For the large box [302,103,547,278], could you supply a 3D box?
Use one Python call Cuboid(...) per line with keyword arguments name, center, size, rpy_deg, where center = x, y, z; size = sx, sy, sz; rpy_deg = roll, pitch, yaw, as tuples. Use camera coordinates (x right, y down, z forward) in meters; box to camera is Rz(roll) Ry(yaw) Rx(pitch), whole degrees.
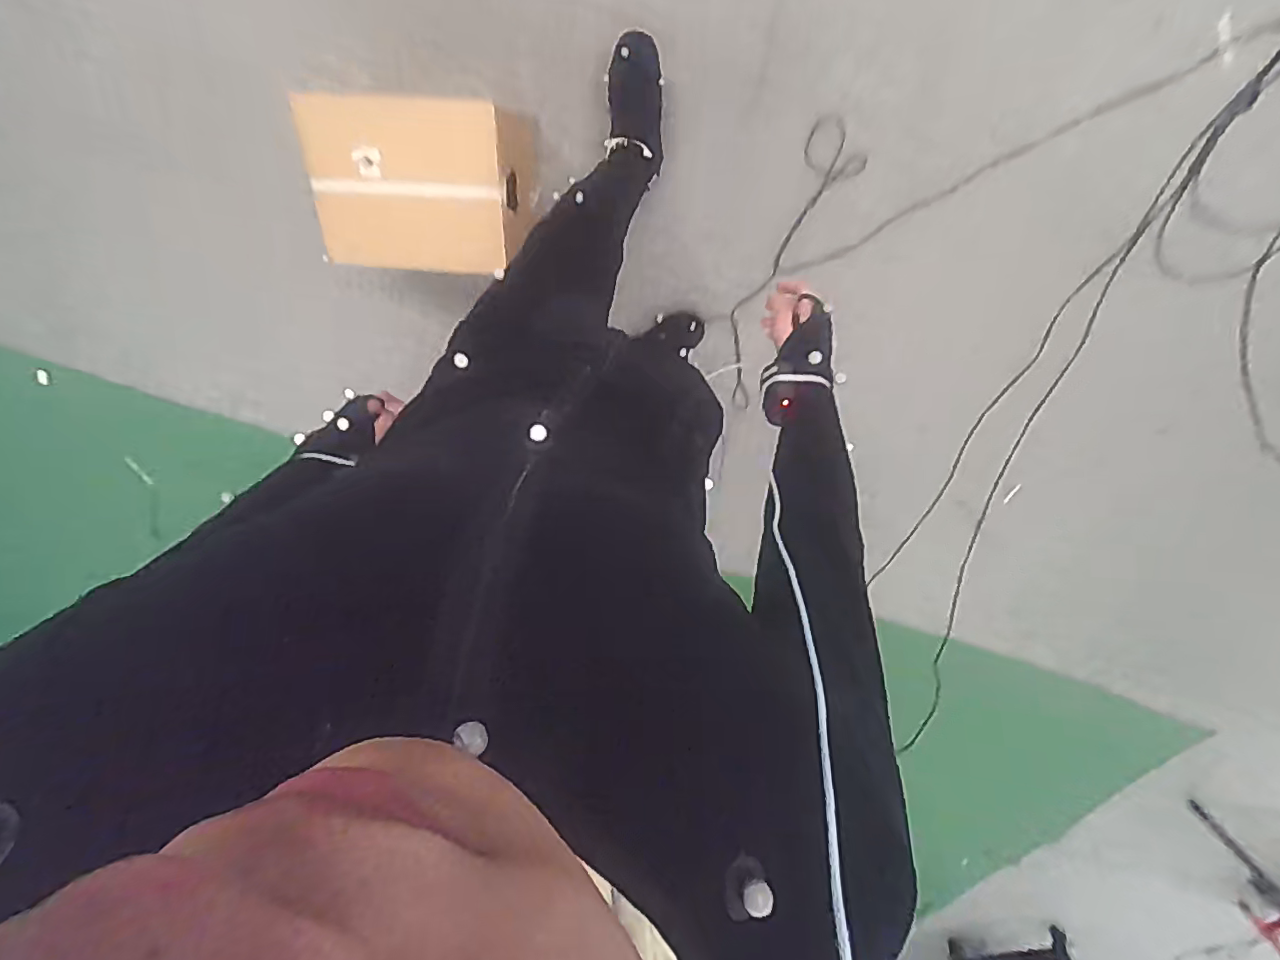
Cuboid(name="large box", center=(-0.453, -0.663, 1.243), size=(0.408, 0.320, 0.320), rpy_deg=(5, 120, 4))
